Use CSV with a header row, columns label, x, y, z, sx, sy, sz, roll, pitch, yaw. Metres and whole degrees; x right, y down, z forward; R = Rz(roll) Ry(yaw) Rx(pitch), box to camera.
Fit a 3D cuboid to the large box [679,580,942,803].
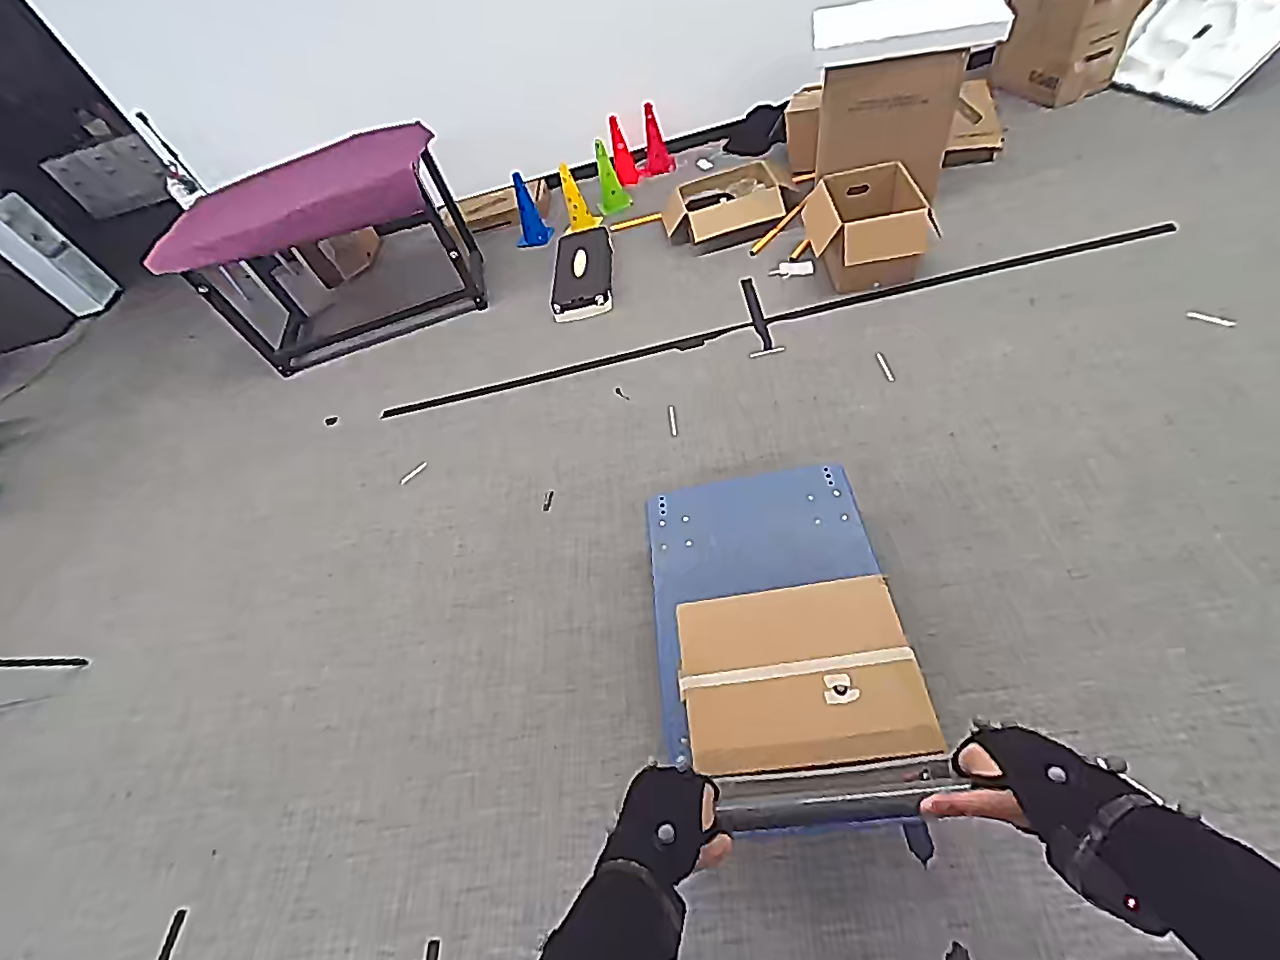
label,x,y,z,sx,sy,sz,roll,pitch,yaw
large box,0.312,0.438,1.095,0.408,0.320,0.320,-10,53,7
